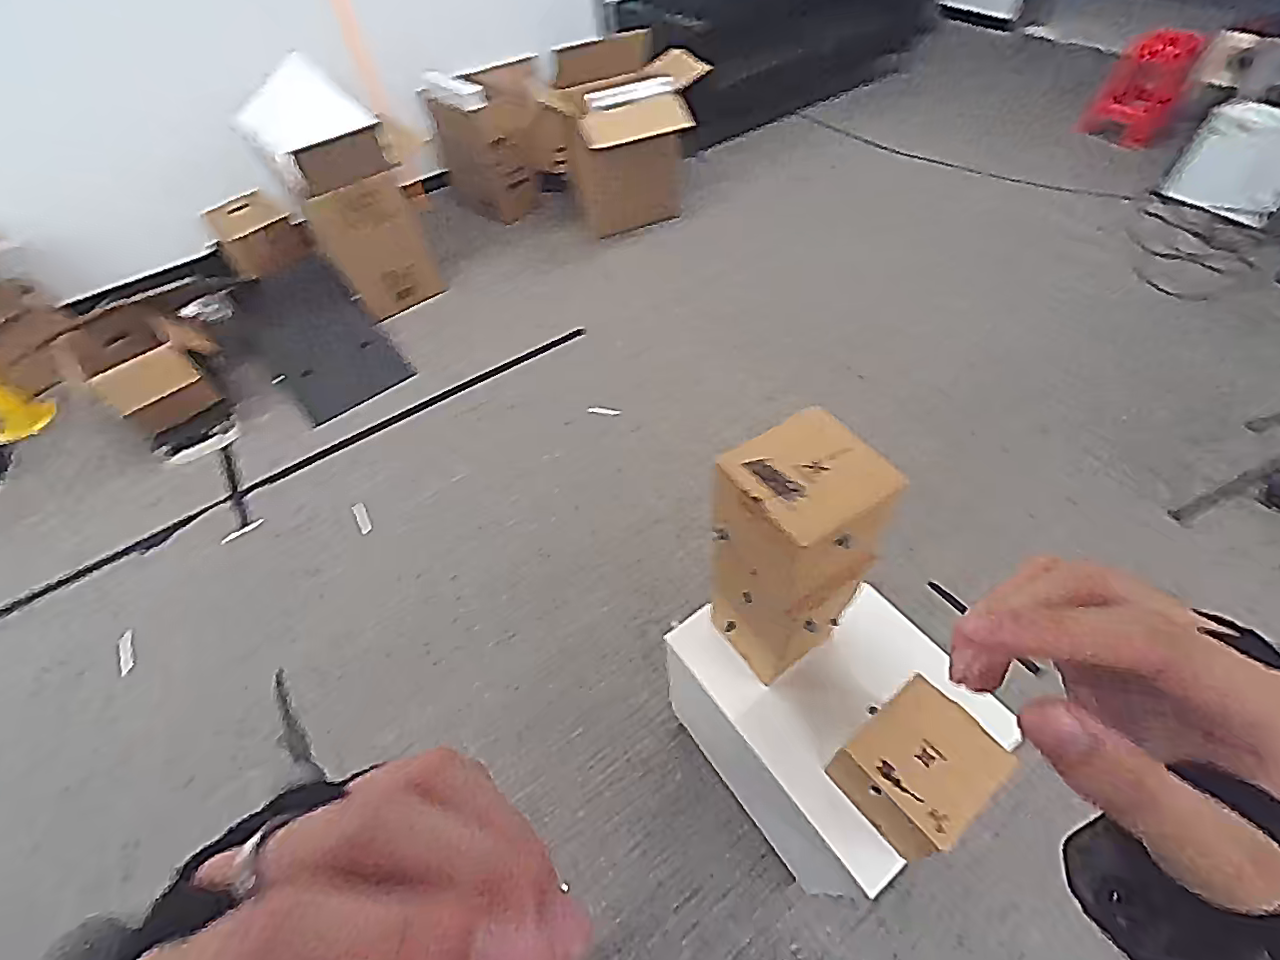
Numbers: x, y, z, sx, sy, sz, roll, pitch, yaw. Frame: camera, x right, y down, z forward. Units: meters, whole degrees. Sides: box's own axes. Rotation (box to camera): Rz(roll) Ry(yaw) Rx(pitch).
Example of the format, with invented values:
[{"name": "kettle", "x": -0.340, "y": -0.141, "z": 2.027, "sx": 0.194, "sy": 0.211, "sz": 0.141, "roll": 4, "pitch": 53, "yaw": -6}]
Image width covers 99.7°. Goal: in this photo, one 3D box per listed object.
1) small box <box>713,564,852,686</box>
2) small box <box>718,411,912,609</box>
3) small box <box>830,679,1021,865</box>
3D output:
[{"name": "small box", "x": 0.251, "y": 0.246, "z": 0.990, "sx": 0.179, "sy": 0.176, "sz": 0.168, "roll": -30, "pitch": 57, "yaw": -18}, {"name": "small box", "x": 0.221, "y": 0.044, "z": 0.731, "sx": 0.179, "sy": 0.176, "sz": 0.168, "roll": -27, "pitch": 55, "yaw": -17}, {"name": "small box", "x": 0.416, "y": 0.445, "z": 0.822, "sx": 0.179, "sy": 0.176, "sz": 0.168, "roll": -33, "pitch": 56, "yaw": -19}]
